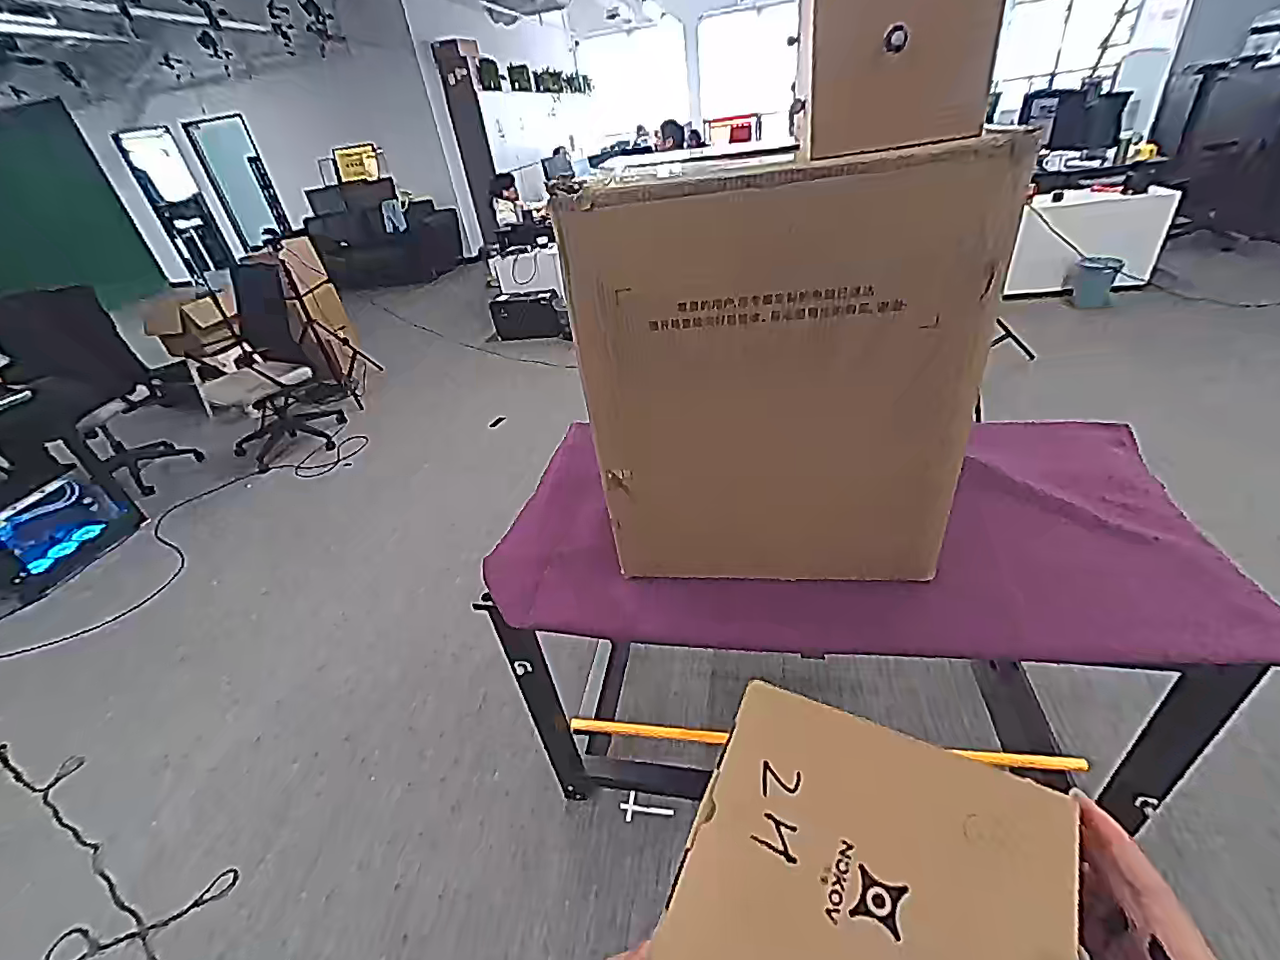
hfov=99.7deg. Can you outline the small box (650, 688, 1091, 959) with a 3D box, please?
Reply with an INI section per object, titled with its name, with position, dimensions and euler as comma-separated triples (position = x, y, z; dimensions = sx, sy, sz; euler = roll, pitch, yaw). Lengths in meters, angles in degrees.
[small box]
position = 0.130, 0.262, 0.323
dimensions = 0.179, 0.176, 0.168
euler = 13, 52, 28
